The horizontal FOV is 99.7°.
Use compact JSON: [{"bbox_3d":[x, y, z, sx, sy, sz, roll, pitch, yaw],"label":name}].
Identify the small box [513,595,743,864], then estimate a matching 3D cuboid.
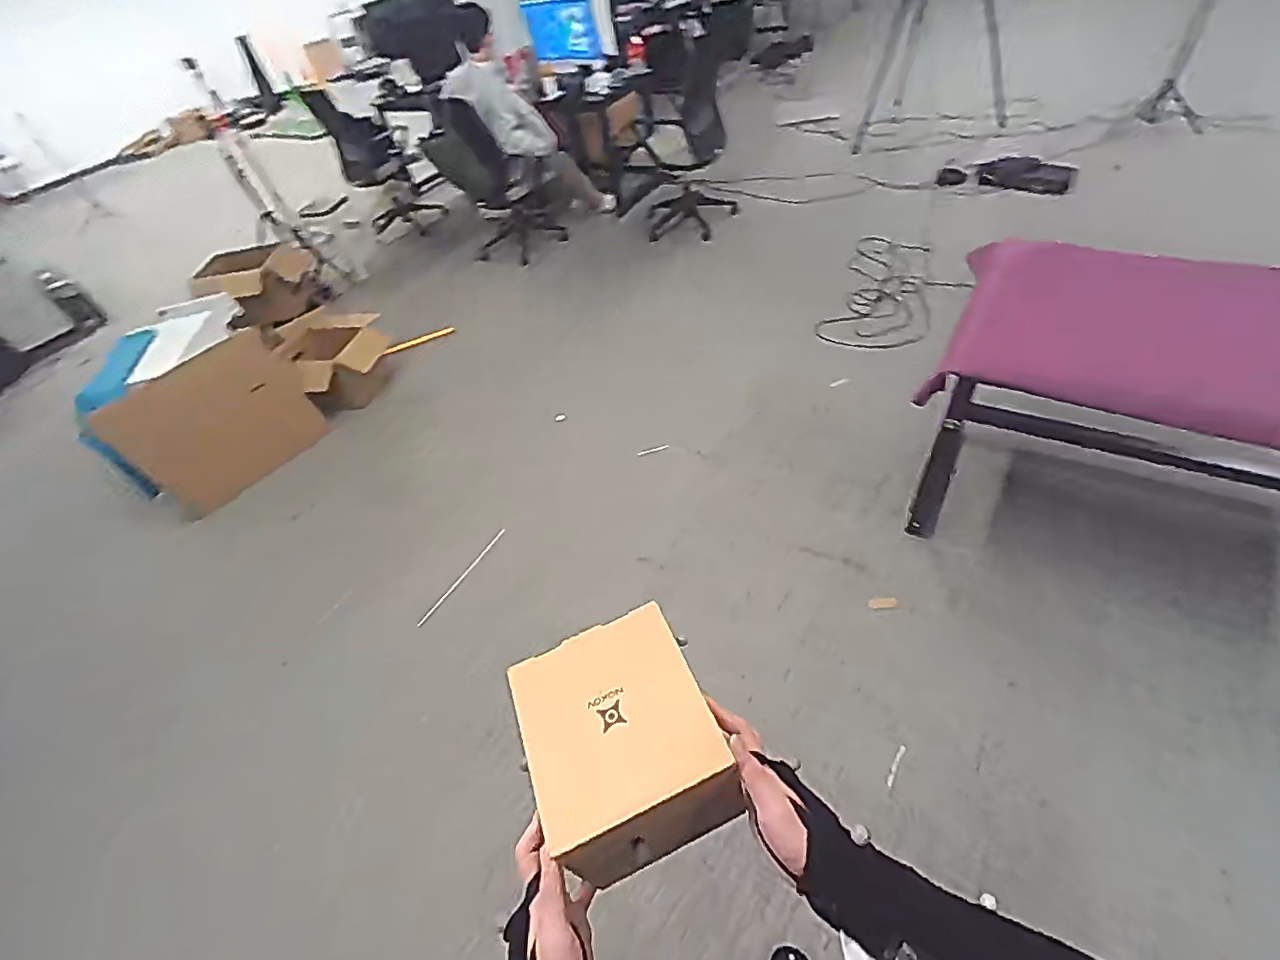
[{"bbox_3d":[-0.007,0.257,0.549,0.168,0.176,0.179,-23,45,-7],"label":"small box"}]
